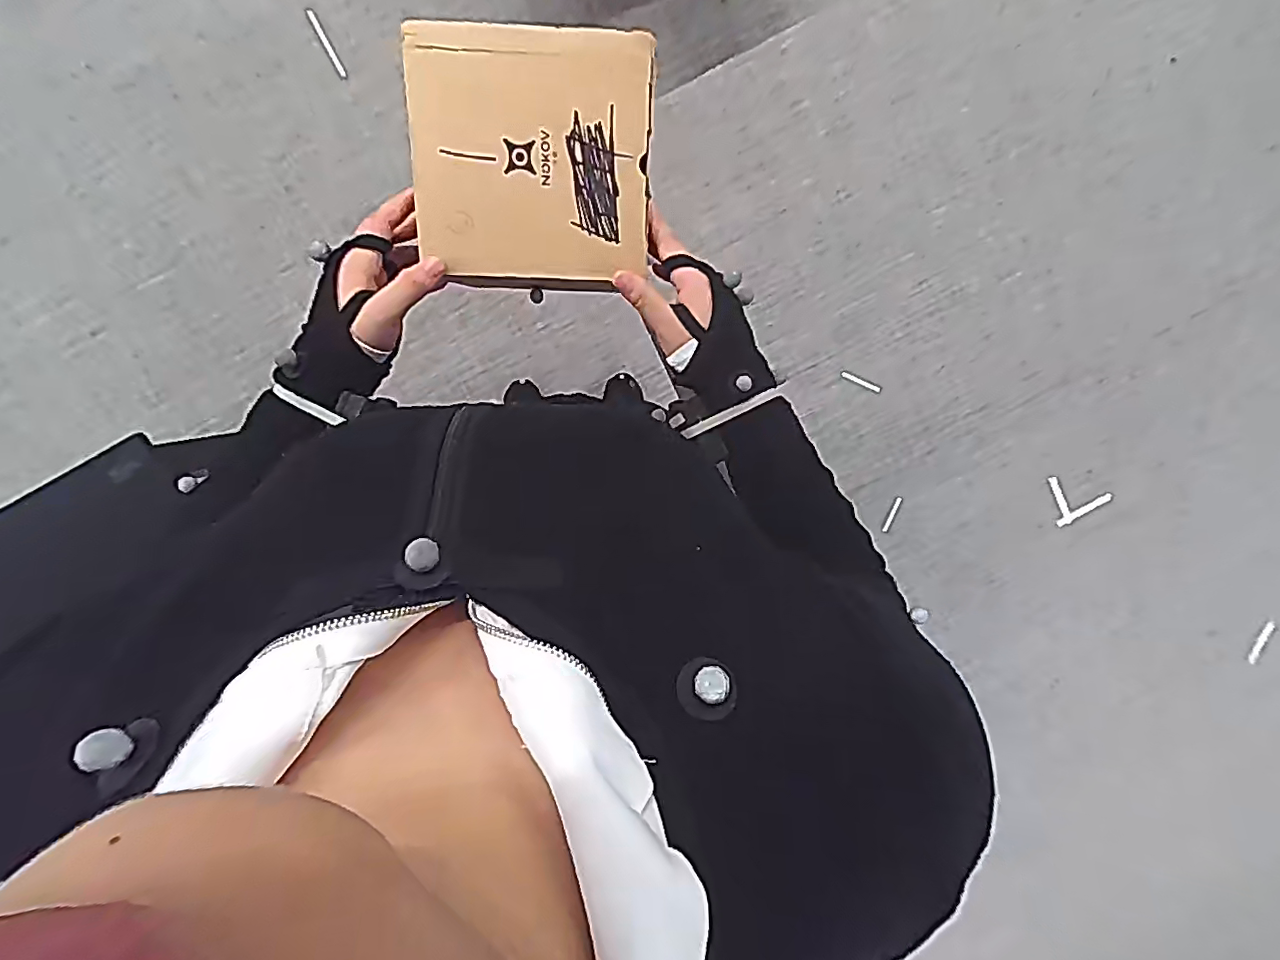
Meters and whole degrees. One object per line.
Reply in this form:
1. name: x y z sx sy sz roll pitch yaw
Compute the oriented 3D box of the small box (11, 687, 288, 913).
1. small box: -0.630 0.407 0.722 0.168 0.176 0.179 -27 102 3
